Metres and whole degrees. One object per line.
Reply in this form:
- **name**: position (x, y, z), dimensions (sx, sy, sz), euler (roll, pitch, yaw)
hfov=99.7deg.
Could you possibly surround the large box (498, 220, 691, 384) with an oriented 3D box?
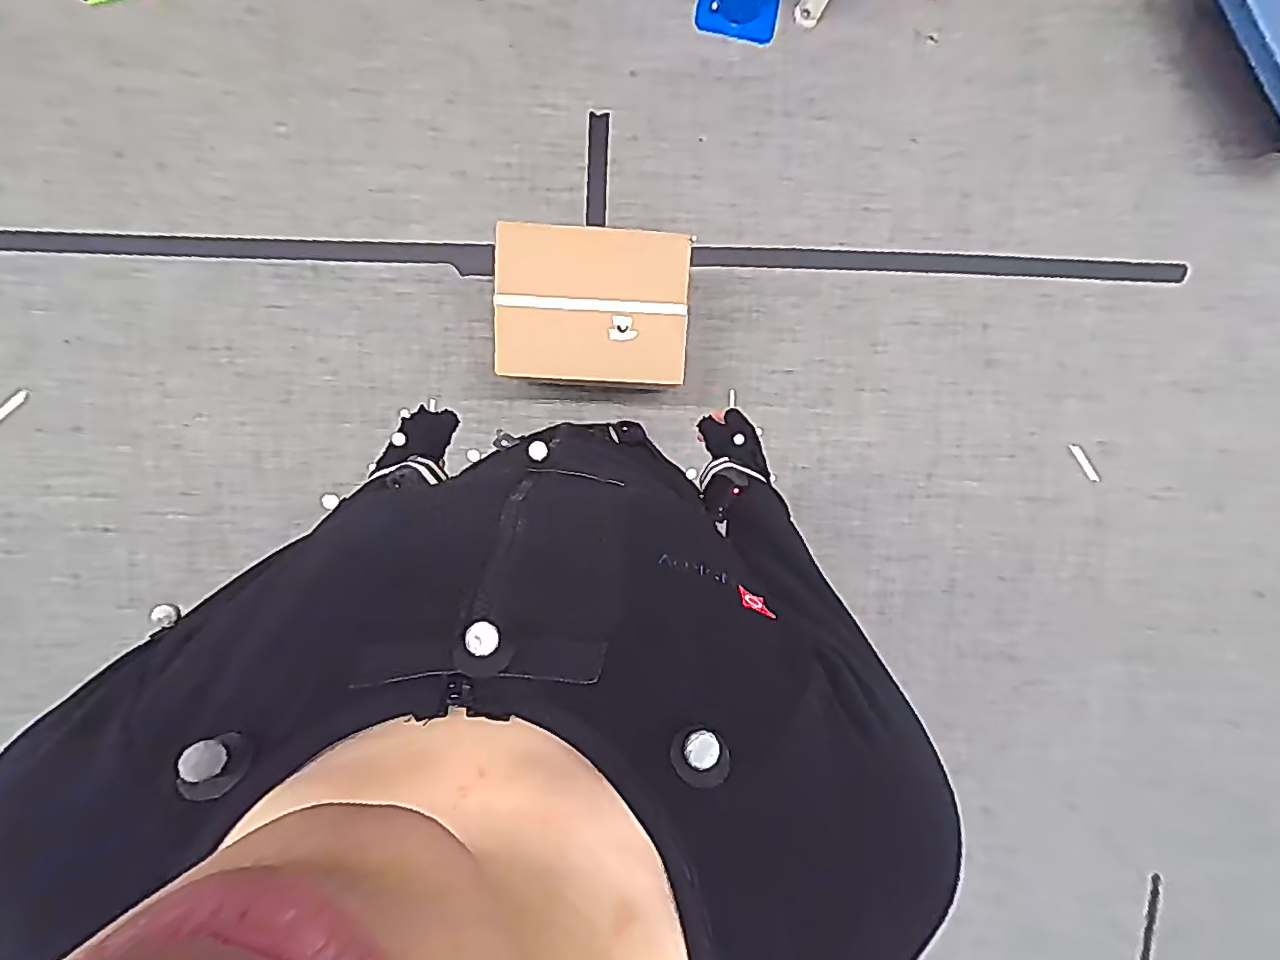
- **large box**: position (-0.106, -0.394, 1.280), dimensions (0.408, 0.320, 0.320), euler (2, 98, -4)
